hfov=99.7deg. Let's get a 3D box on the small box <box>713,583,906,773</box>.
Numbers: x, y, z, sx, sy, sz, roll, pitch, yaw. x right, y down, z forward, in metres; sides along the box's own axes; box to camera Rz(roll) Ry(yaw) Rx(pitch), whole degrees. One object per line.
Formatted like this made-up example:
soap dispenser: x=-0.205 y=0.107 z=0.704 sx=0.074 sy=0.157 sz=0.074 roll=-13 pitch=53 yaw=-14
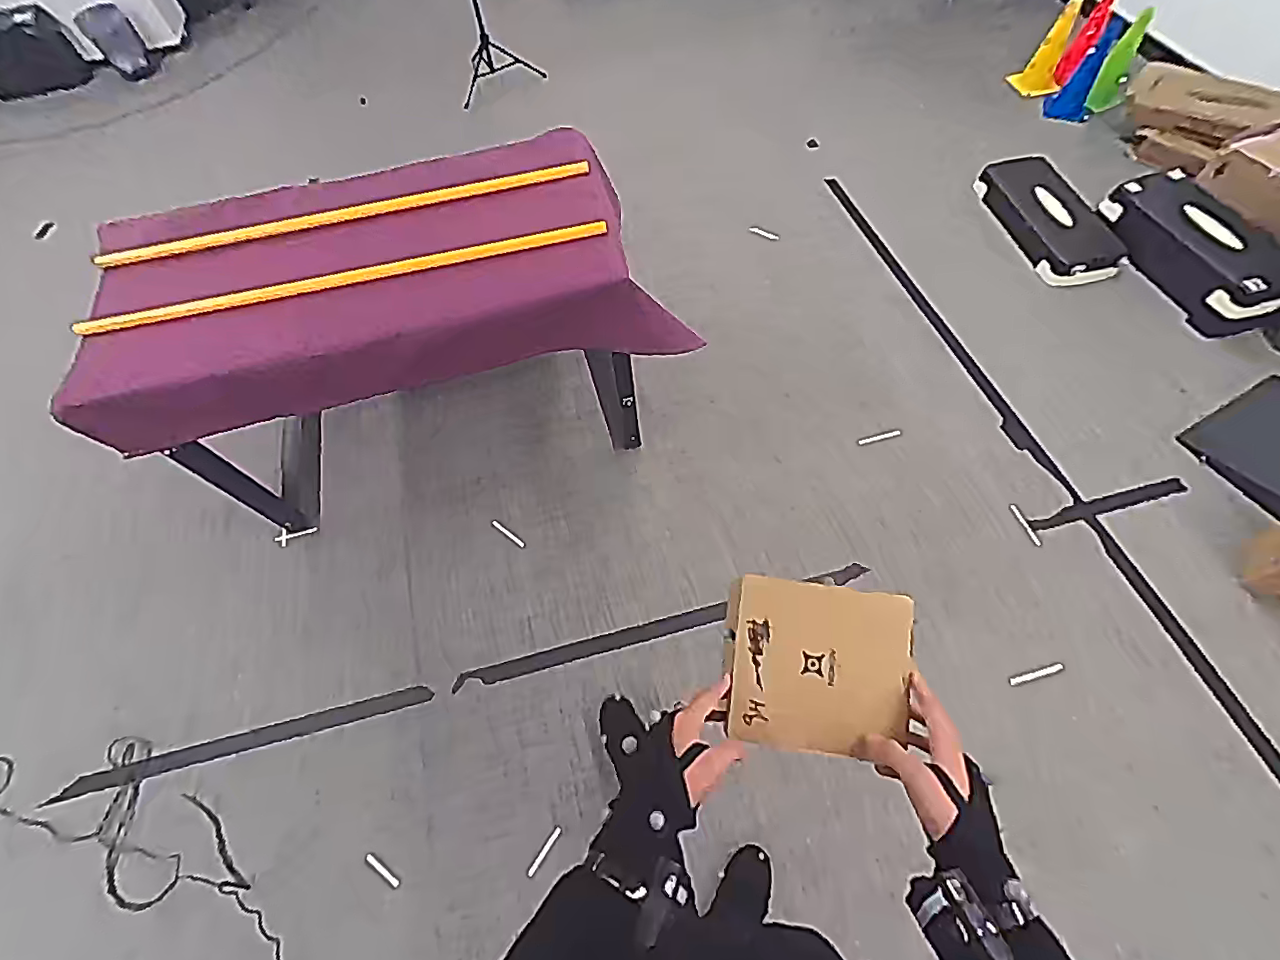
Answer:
small box: x=0.185 y=0.216 z=0.633 sx=0.179 sy=0.176 sz=0.168 roll=7 pitch=78 yaw=7
